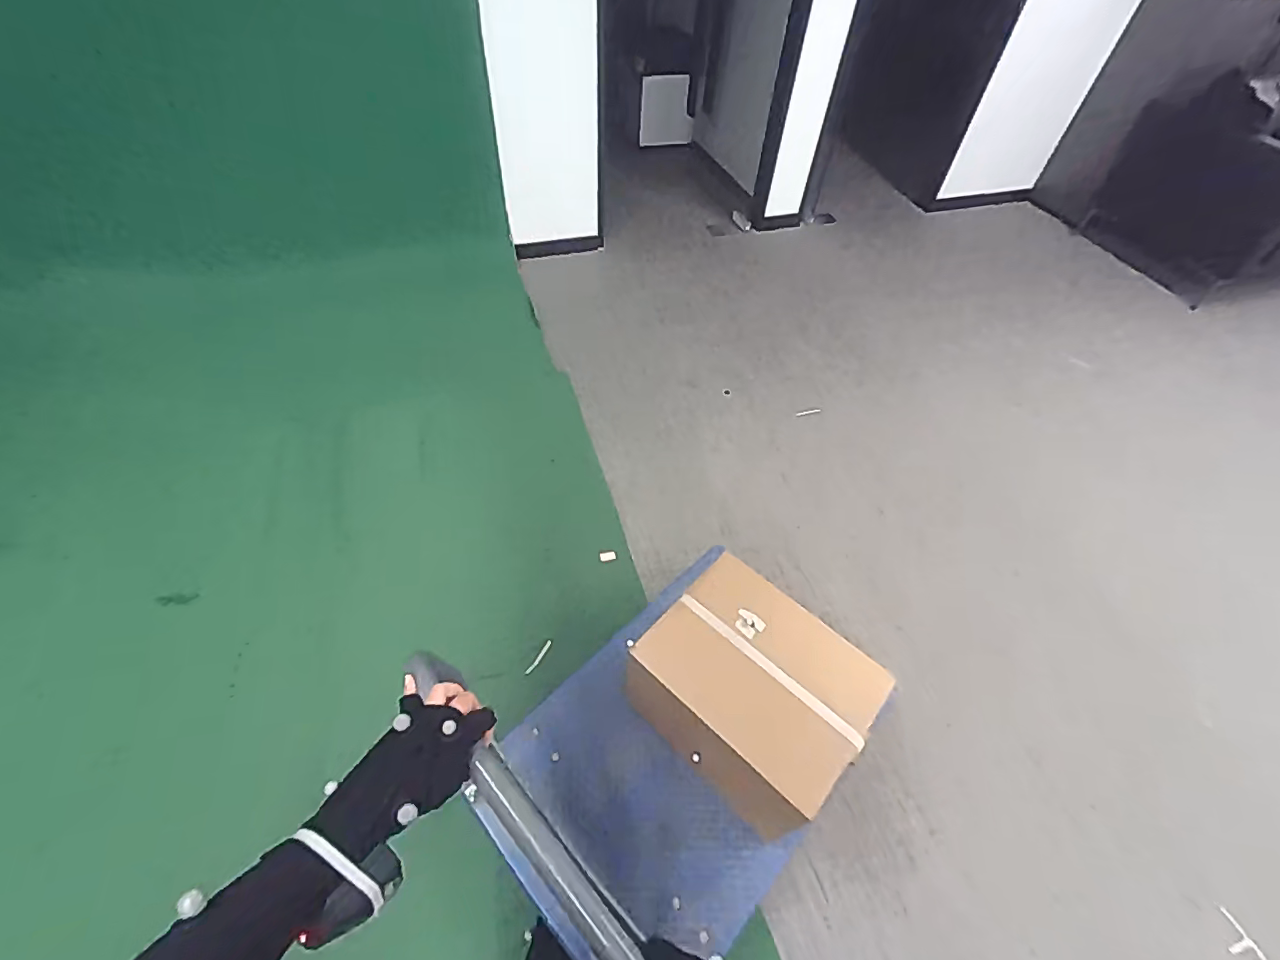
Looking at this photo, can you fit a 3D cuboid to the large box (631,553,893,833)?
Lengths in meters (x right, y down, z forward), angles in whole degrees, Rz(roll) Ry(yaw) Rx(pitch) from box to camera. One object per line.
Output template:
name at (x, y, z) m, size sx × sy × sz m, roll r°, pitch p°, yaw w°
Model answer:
large box at (0.227, 0.438, 1.132) m, size 0.408 × 0.320 × 0.320 m, roll 36°, pitch 57°, yaw 25°
